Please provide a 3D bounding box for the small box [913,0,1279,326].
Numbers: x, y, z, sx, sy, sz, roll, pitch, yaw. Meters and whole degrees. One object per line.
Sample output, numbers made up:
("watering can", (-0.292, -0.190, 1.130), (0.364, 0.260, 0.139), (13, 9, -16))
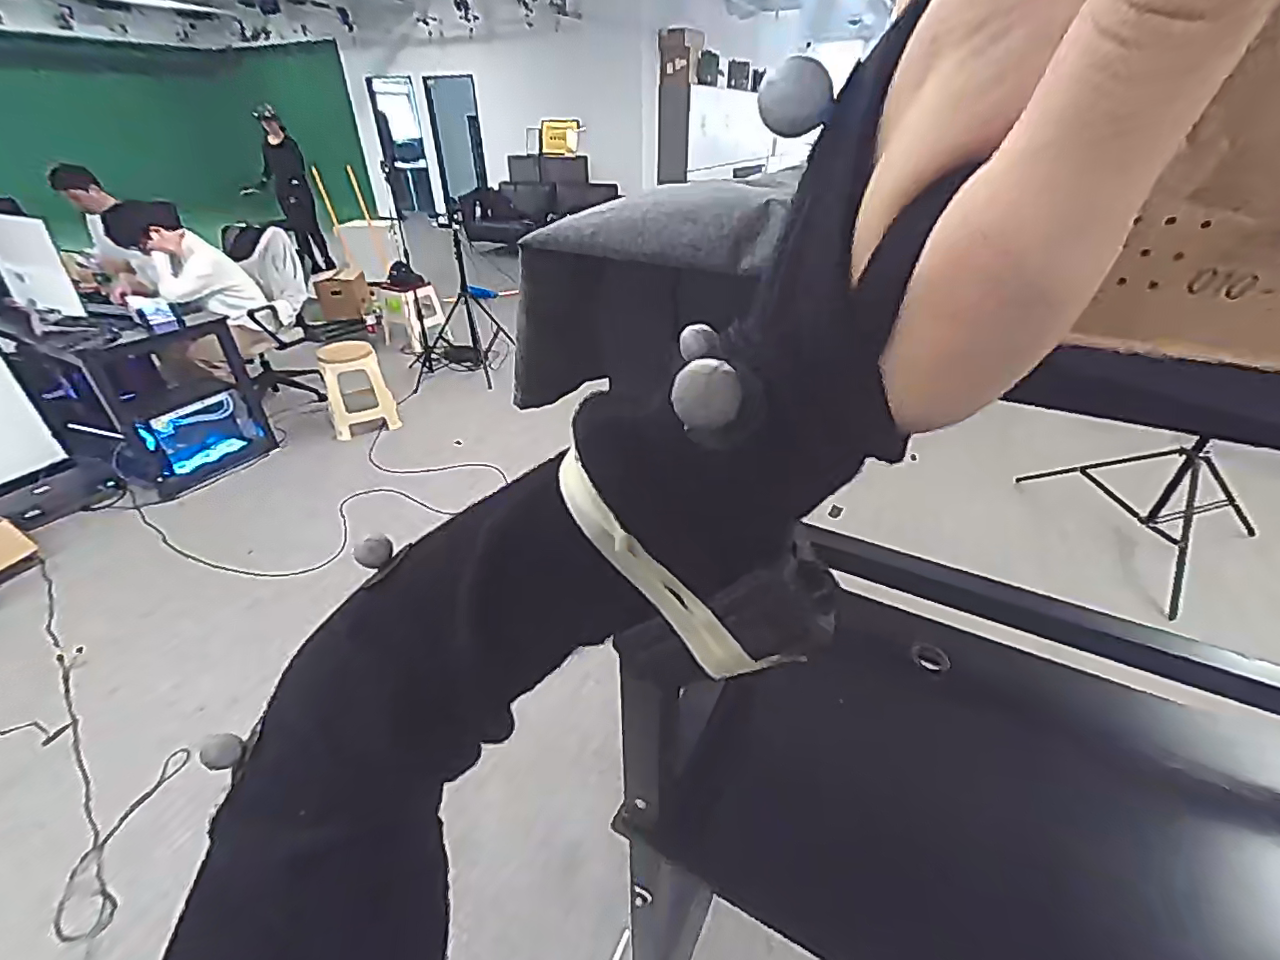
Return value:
("small box", (0.169, -0.146, 0.094), (0.168, 0.176, 0.179), (8, 60, 3))
